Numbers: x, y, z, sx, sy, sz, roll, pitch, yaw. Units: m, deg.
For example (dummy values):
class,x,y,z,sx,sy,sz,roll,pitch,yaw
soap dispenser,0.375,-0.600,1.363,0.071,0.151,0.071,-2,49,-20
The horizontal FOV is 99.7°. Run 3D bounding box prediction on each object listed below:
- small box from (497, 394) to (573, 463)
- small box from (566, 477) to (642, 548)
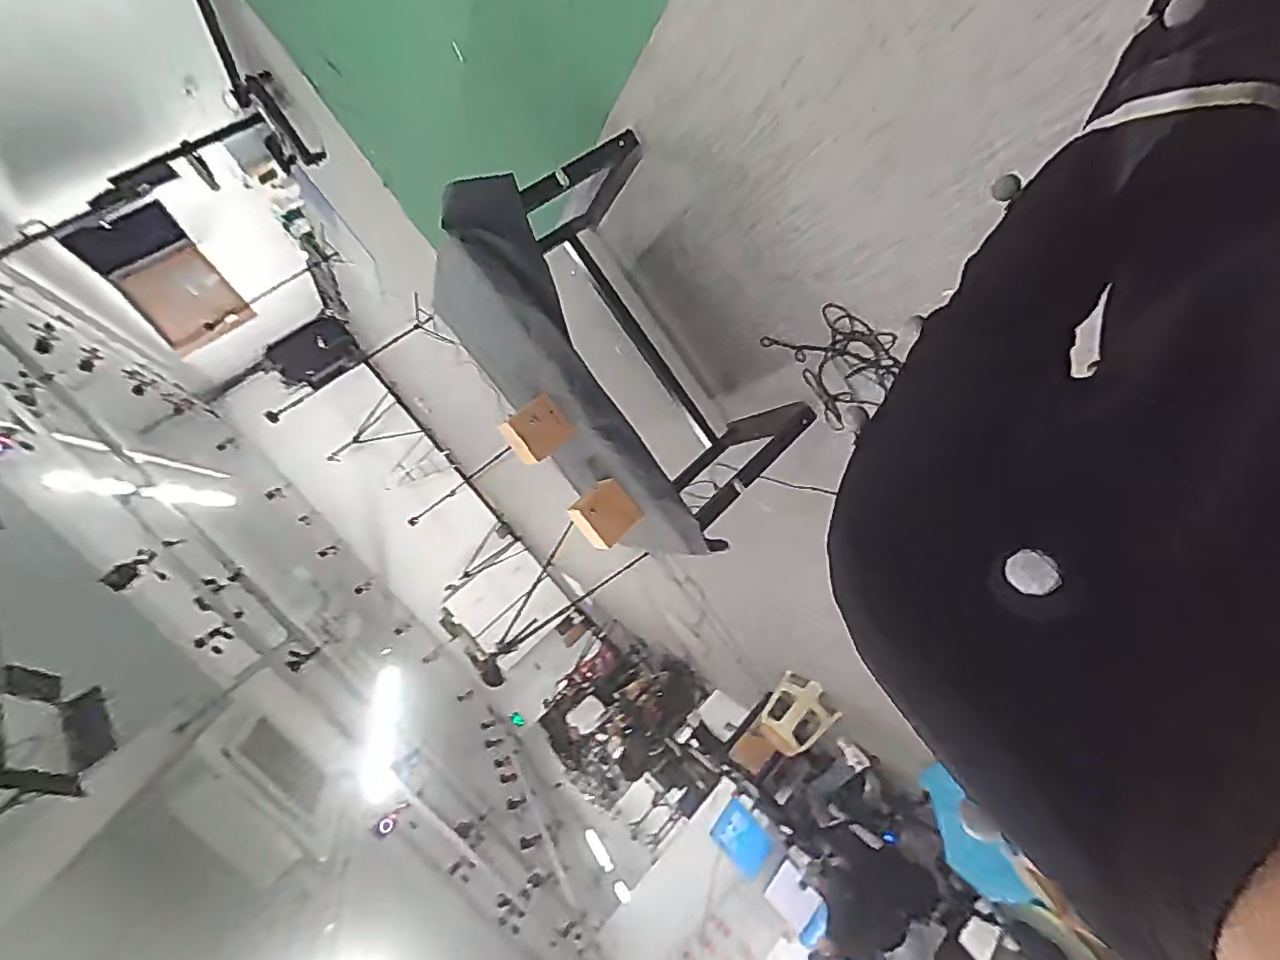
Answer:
class,x,y,z,sx,sy,sz,roll,pitch,yaw
small box,-0.348,-0.173,1.812,0.168,0.176,0.179,55,160,-15
small box,-0.121,0.111,1.863,0.179,0.176,0.168,53,160,-10
